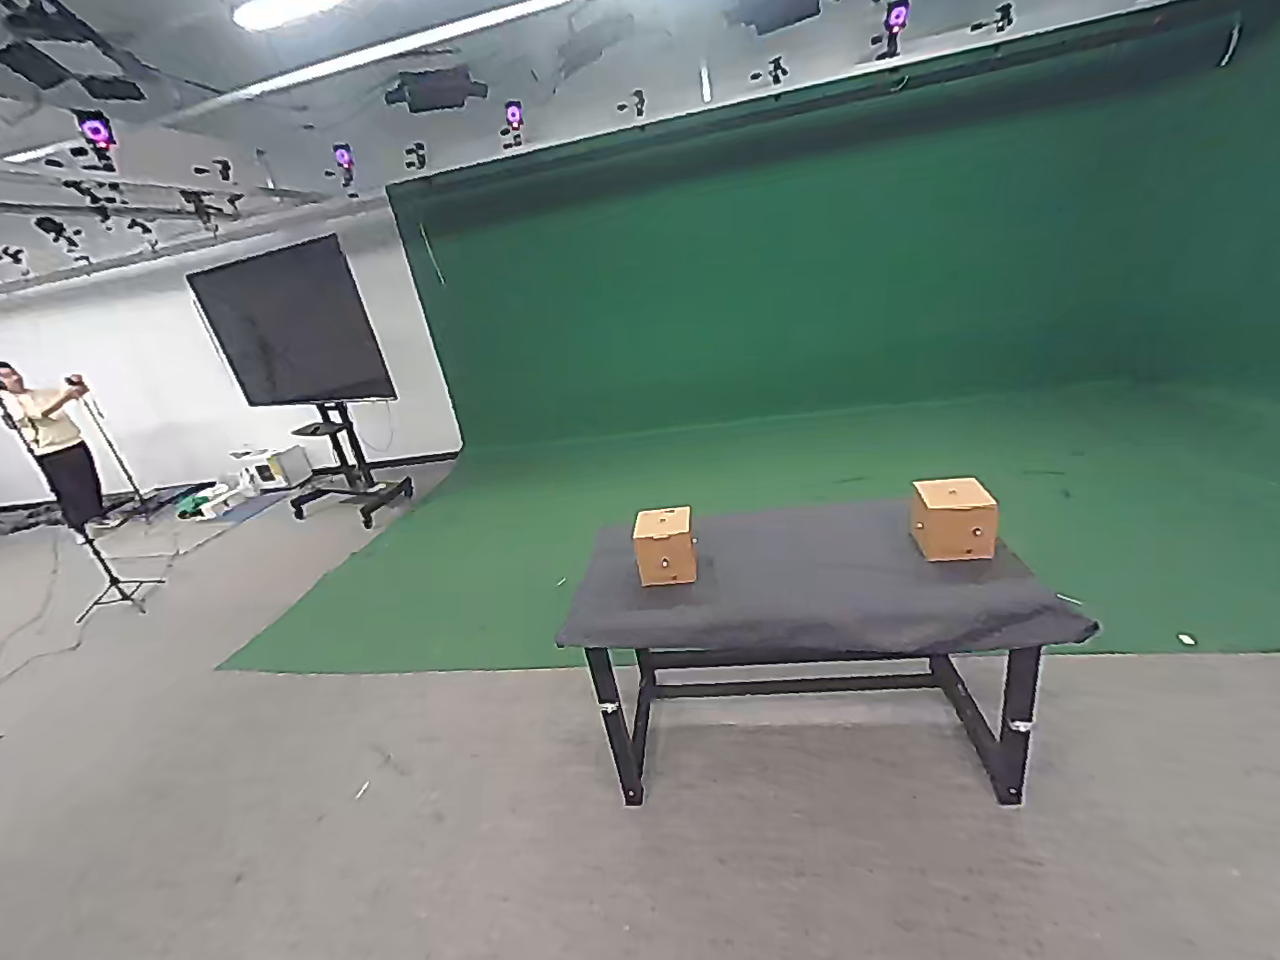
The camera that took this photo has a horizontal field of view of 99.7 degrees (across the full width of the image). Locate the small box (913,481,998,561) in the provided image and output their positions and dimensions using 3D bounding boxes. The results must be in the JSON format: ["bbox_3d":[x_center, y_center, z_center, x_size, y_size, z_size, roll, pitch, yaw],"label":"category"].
[{"bbox_3d":[0.881,0.119,1.523,0.168,0.176,0.179,-4,22,13],"label":"small box"}]

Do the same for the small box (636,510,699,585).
[{"bbox_3d":[0.091,0.212,1.661,0.168,0.176,0.179,-6,23,9],"label":"small box"}]
